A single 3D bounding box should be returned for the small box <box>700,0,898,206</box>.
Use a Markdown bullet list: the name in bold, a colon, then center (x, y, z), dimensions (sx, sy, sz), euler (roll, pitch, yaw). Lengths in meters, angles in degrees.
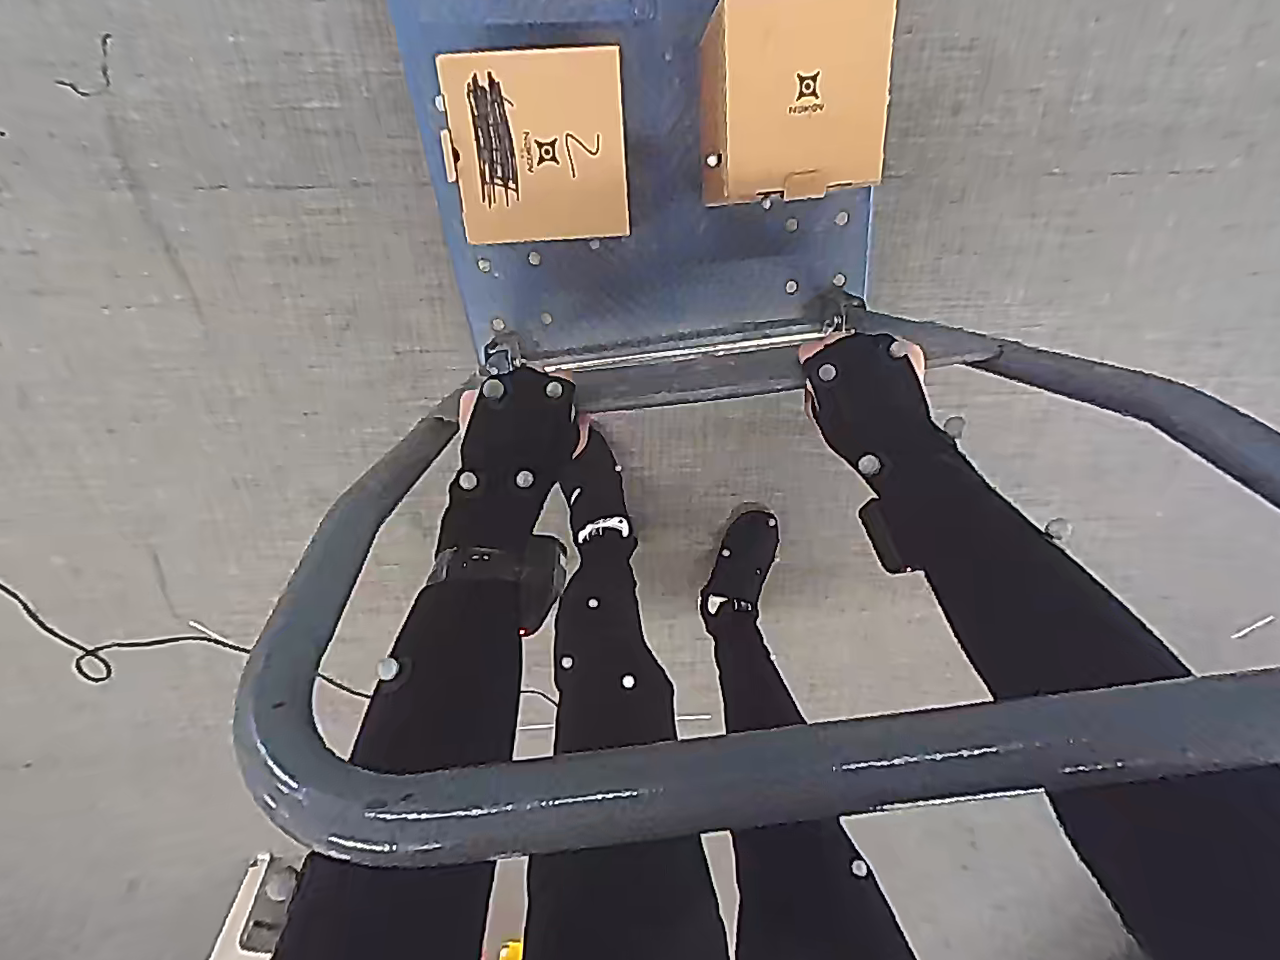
- **small box**: center (0.161, -0.413, 0.606), dimensions (0.168, 0.176, 0.179), euler (-6, 116, 0)
